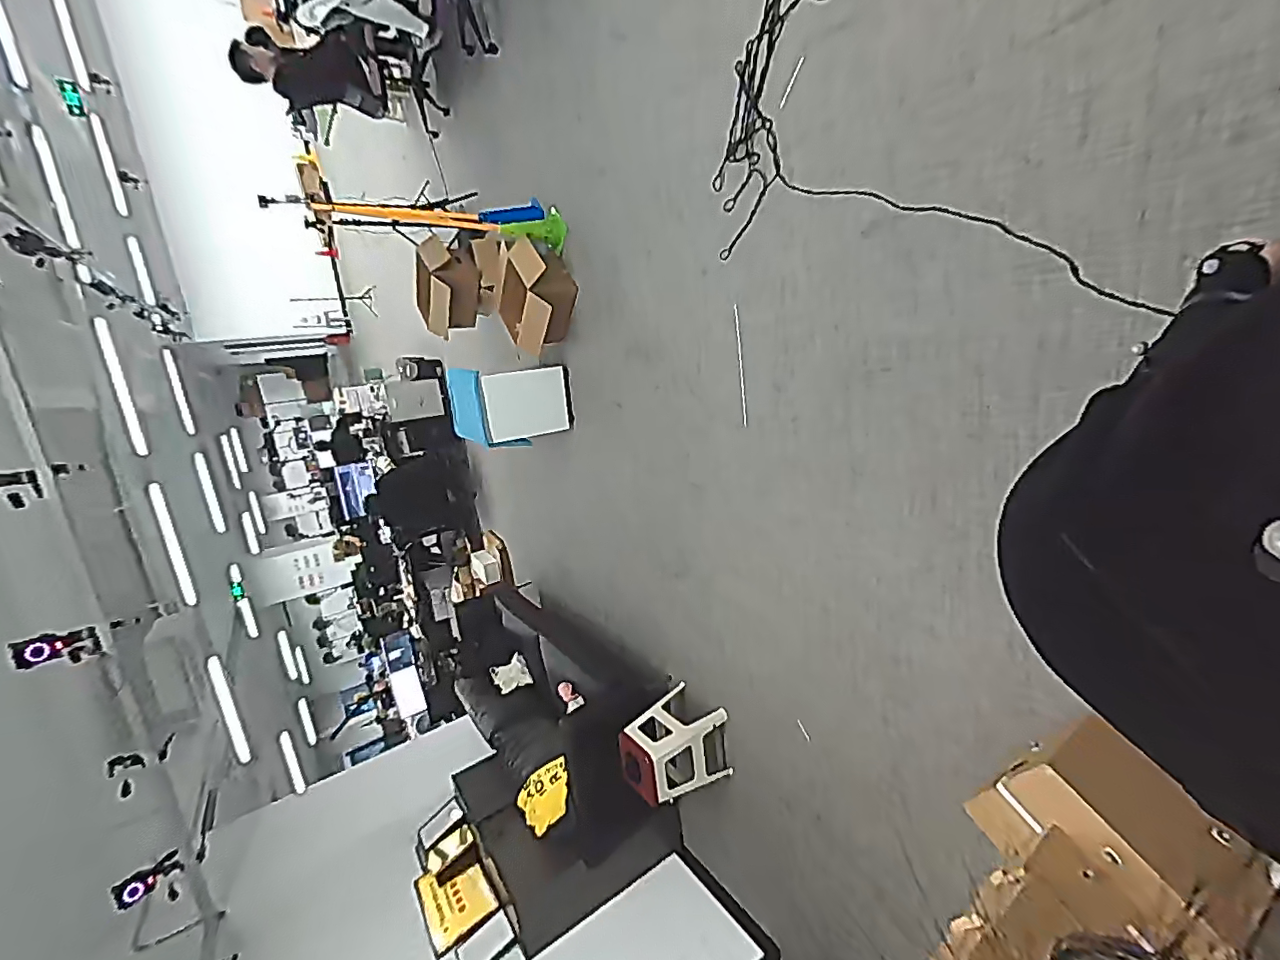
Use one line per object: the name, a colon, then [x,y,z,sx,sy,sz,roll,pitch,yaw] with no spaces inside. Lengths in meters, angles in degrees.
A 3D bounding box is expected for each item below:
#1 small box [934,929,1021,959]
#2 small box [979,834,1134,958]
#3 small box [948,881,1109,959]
small box: [0.629,0.970,0.985,0.168,0.176,0.179,50,141,35]
small box: [0.893,0.905,1.167,0.179,0.176,0.168,49,141,37]
small box: [0.766,0.934,1.065,0.179,0.176,0.168,50,141,33]
